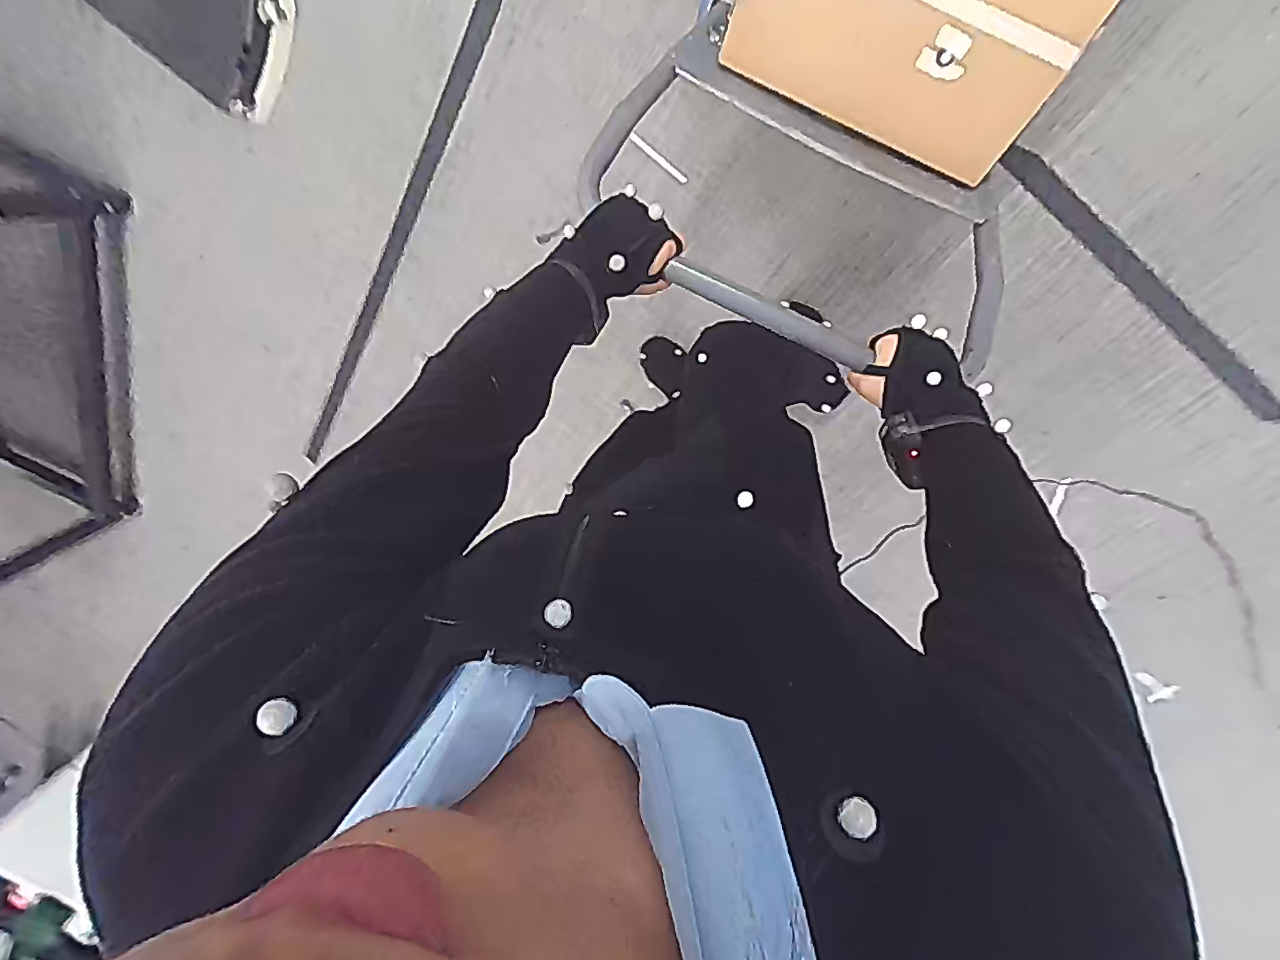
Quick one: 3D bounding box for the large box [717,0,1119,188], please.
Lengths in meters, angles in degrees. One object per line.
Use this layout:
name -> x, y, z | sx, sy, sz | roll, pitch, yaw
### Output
large box -> 0.367, -0.675, 0.723 | 0.408, 0.320, 0.320 | 24, 142, -2
